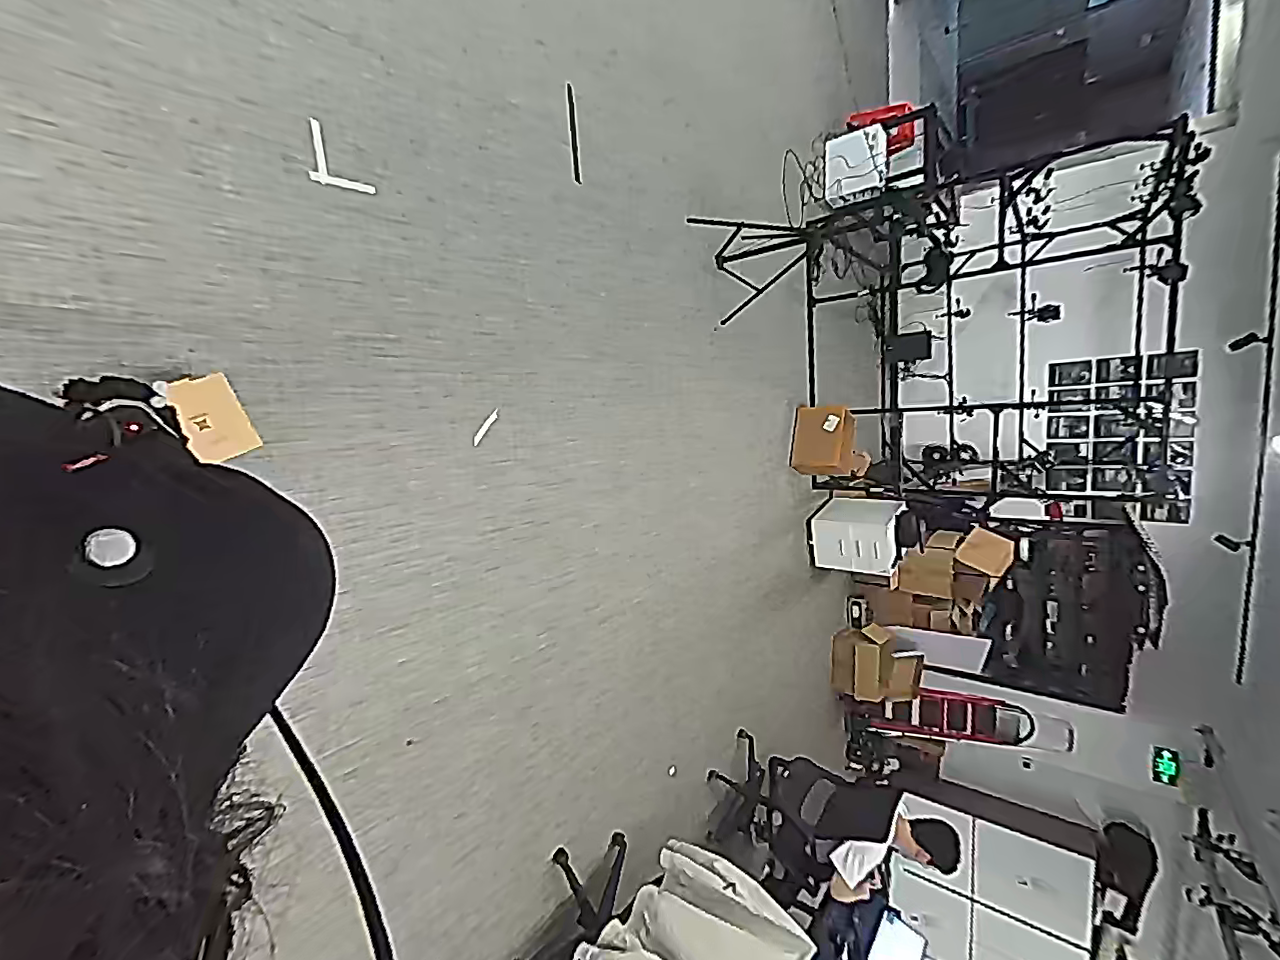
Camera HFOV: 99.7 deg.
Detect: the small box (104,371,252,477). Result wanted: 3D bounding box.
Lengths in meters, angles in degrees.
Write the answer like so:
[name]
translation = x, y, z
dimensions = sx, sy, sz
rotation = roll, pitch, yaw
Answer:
[small box]
translation = -0.983, -0.118, 1.149
dimensions = 0.168, 0.176, 0.179
rotation = -39, 122, -43
